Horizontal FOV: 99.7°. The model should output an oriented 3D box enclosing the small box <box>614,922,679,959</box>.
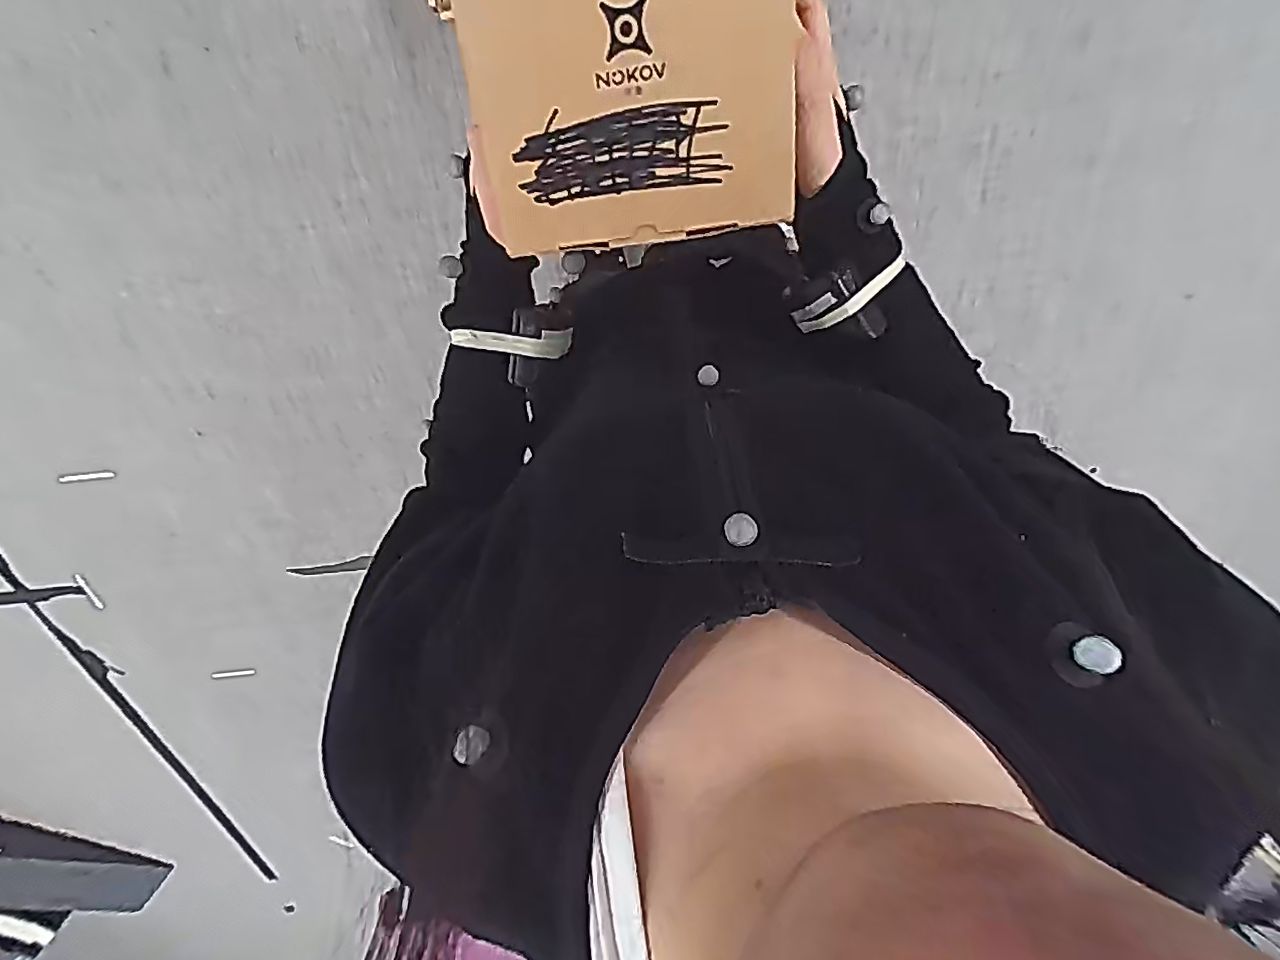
[{"bbox_3d":[0.021,1.280,1.393,0.168,0.176,0.179,-5,119,-3],"label":"small box"}]
